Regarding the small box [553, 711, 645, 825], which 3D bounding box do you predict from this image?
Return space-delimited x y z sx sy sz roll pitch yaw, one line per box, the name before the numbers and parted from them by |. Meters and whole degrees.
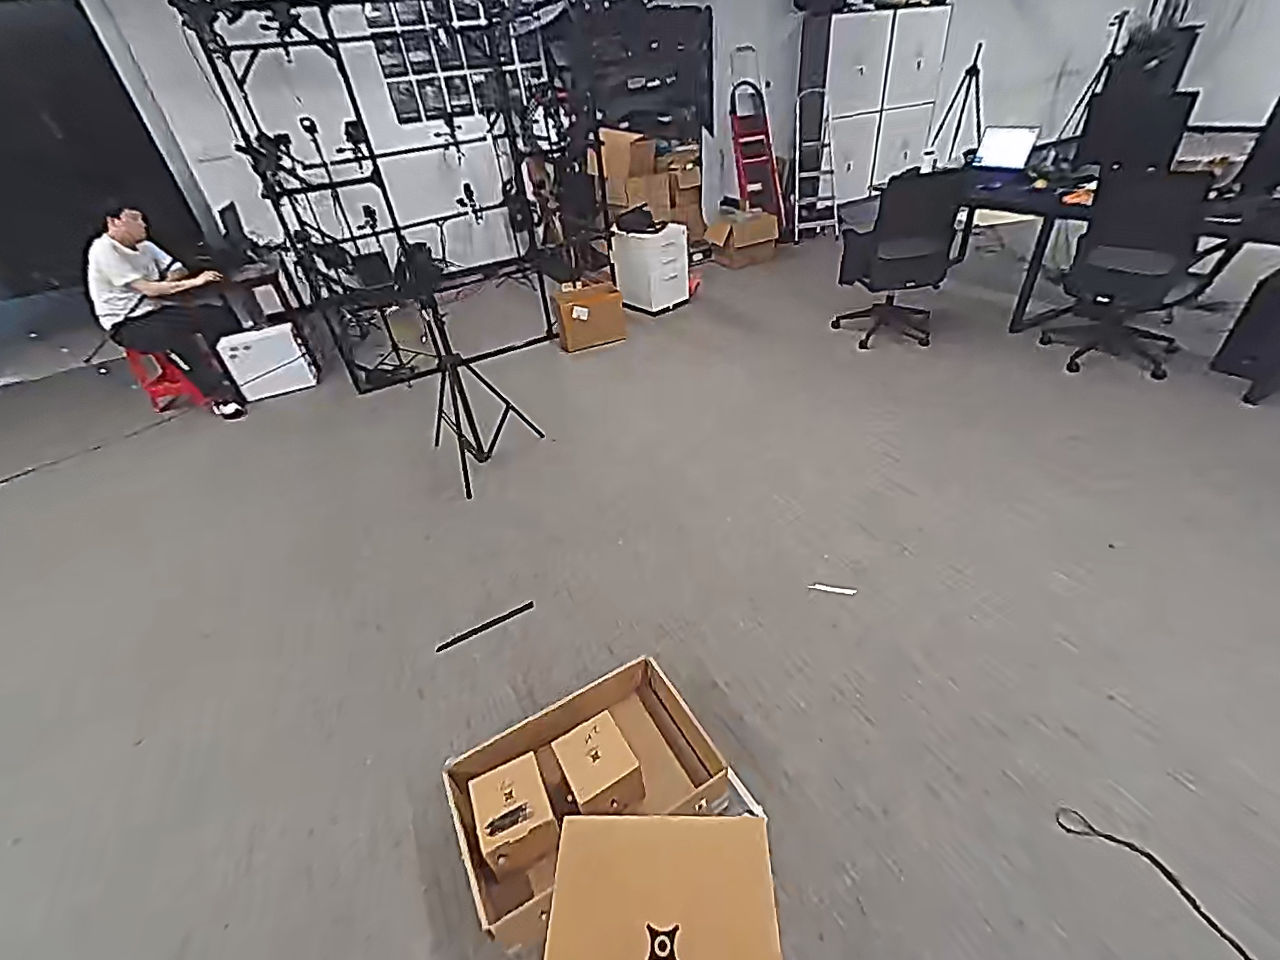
small box | -0.100 0.739 1.378 0.168 0.176 0.179 -23 40 -21
